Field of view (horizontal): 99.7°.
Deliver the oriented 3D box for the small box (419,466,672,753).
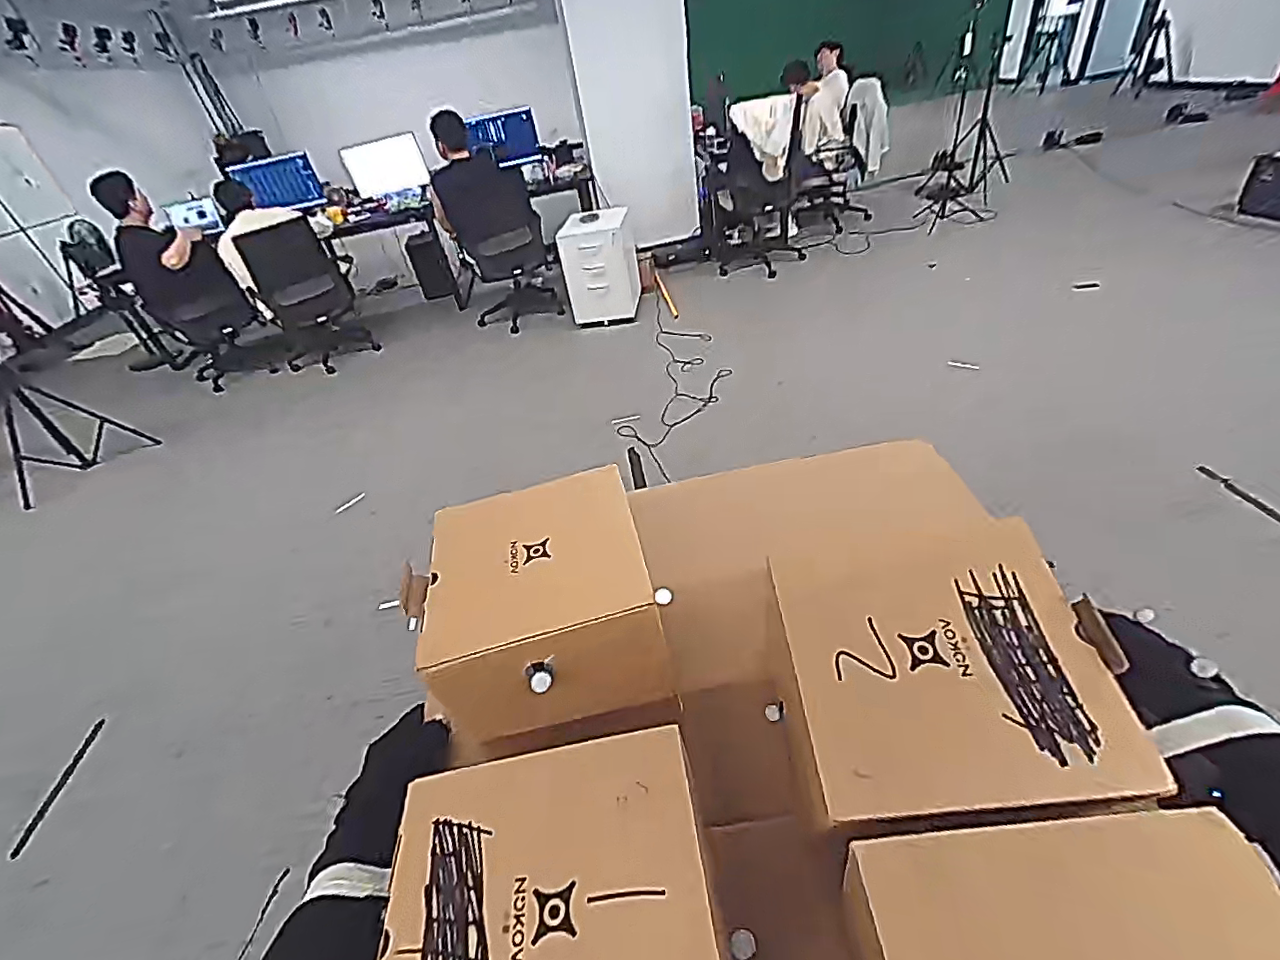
[{"bbox_3d":[-0.074,0.119,0.498,0.179,0.176,0.168,-16,40,-2],"label":"small box"}]
